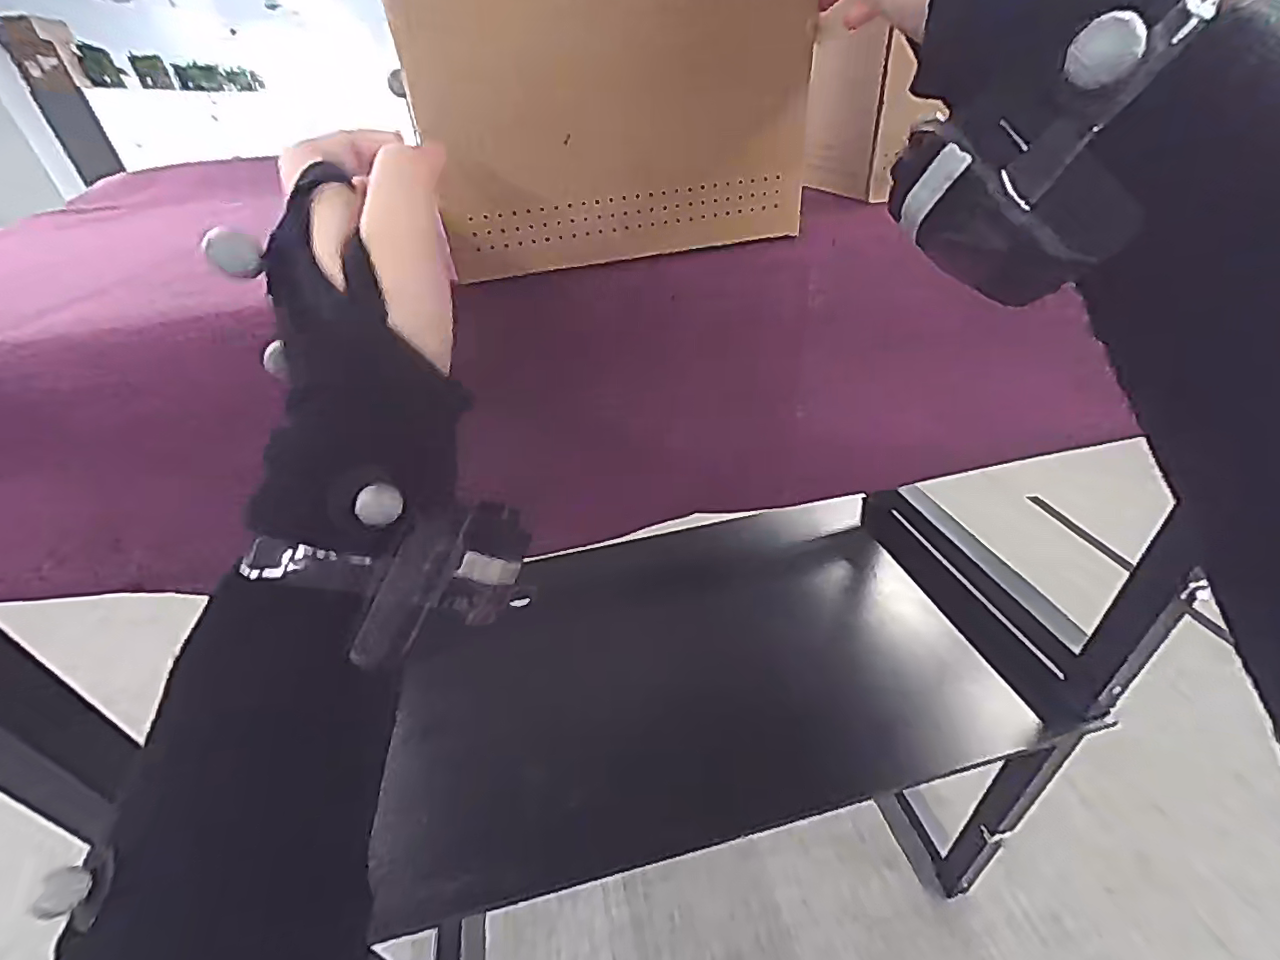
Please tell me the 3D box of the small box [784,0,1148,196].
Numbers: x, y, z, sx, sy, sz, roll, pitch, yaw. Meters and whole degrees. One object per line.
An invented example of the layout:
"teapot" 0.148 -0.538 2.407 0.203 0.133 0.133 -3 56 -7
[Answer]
"small box" 0.191 -0.293 0.356 0.168 0.176 0.179 -11 35 -8
